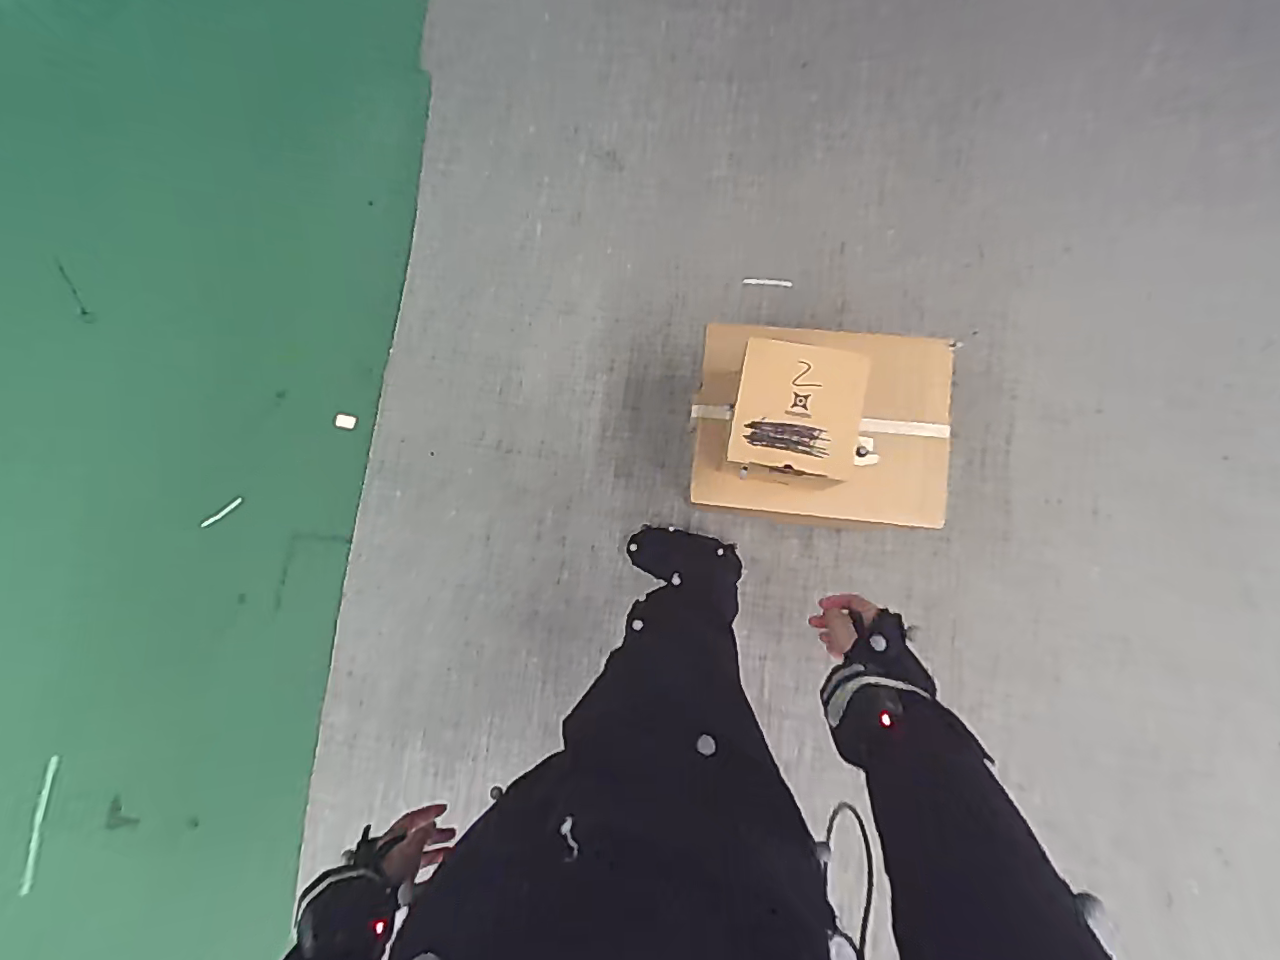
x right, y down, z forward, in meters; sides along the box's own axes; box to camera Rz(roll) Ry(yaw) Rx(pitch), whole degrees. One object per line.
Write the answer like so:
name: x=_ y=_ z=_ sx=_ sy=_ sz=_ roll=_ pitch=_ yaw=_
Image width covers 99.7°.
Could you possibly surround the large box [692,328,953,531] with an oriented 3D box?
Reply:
large box: x=0.310 y=-0.075 z=1.030 sx=0.408 sy=0.320 sz=0.320 roll=6 pitch=85 yaw=5
